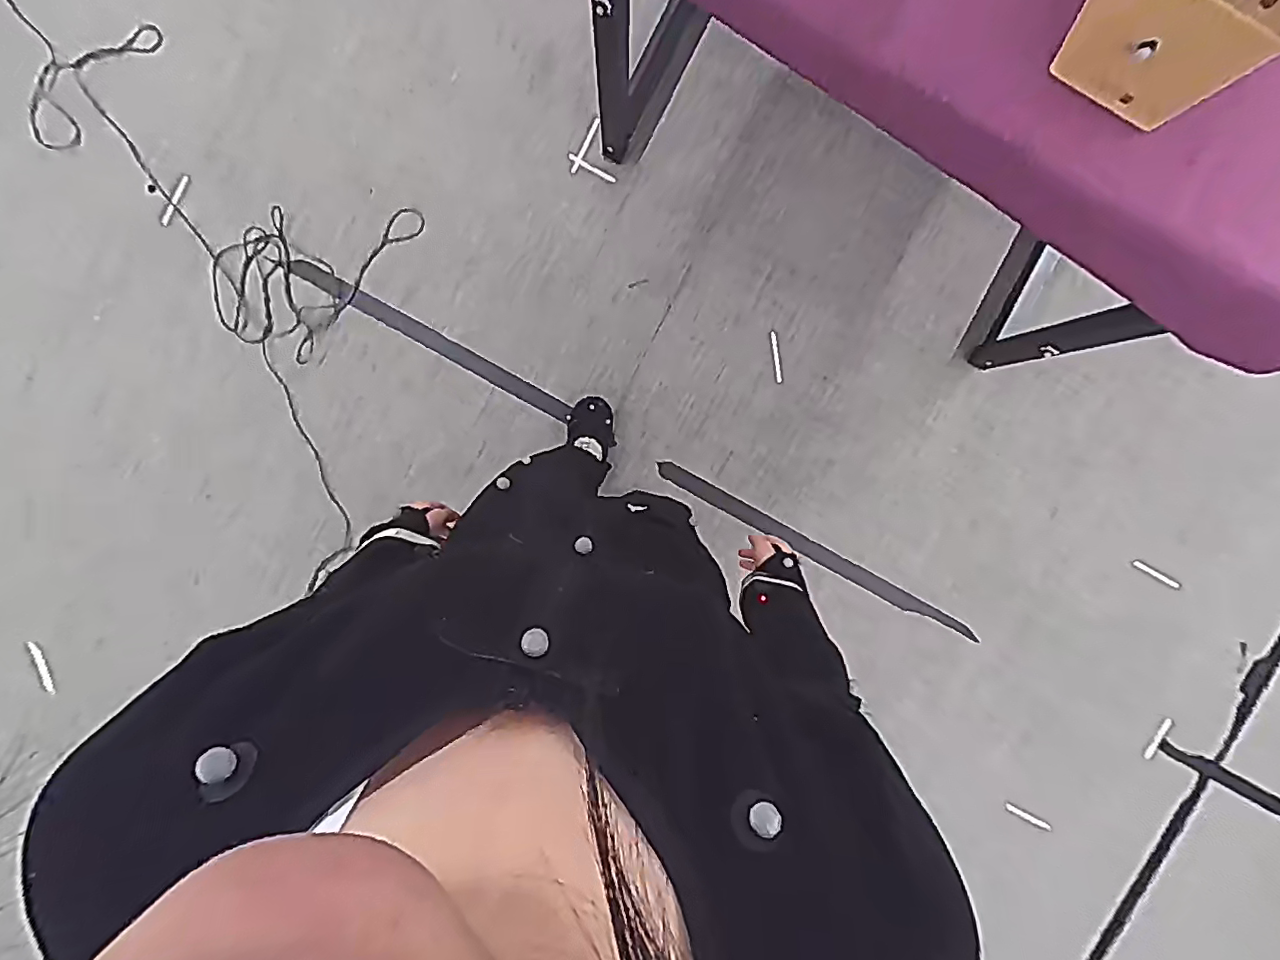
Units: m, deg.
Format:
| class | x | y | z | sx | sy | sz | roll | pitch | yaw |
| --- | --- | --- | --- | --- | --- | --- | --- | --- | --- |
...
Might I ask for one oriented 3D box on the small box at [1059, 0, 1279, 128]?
| class | x | y | z | sx | sy | sz | roll | pitch | yaw |
| --- | --- | --- | --- | --- | --- | --- | --- | --- | --- |
| small box | 0.670 | -0.584 | 0.660 | 0.168 | 0.176 | 0.179 | 28 | 92 | -3 |
